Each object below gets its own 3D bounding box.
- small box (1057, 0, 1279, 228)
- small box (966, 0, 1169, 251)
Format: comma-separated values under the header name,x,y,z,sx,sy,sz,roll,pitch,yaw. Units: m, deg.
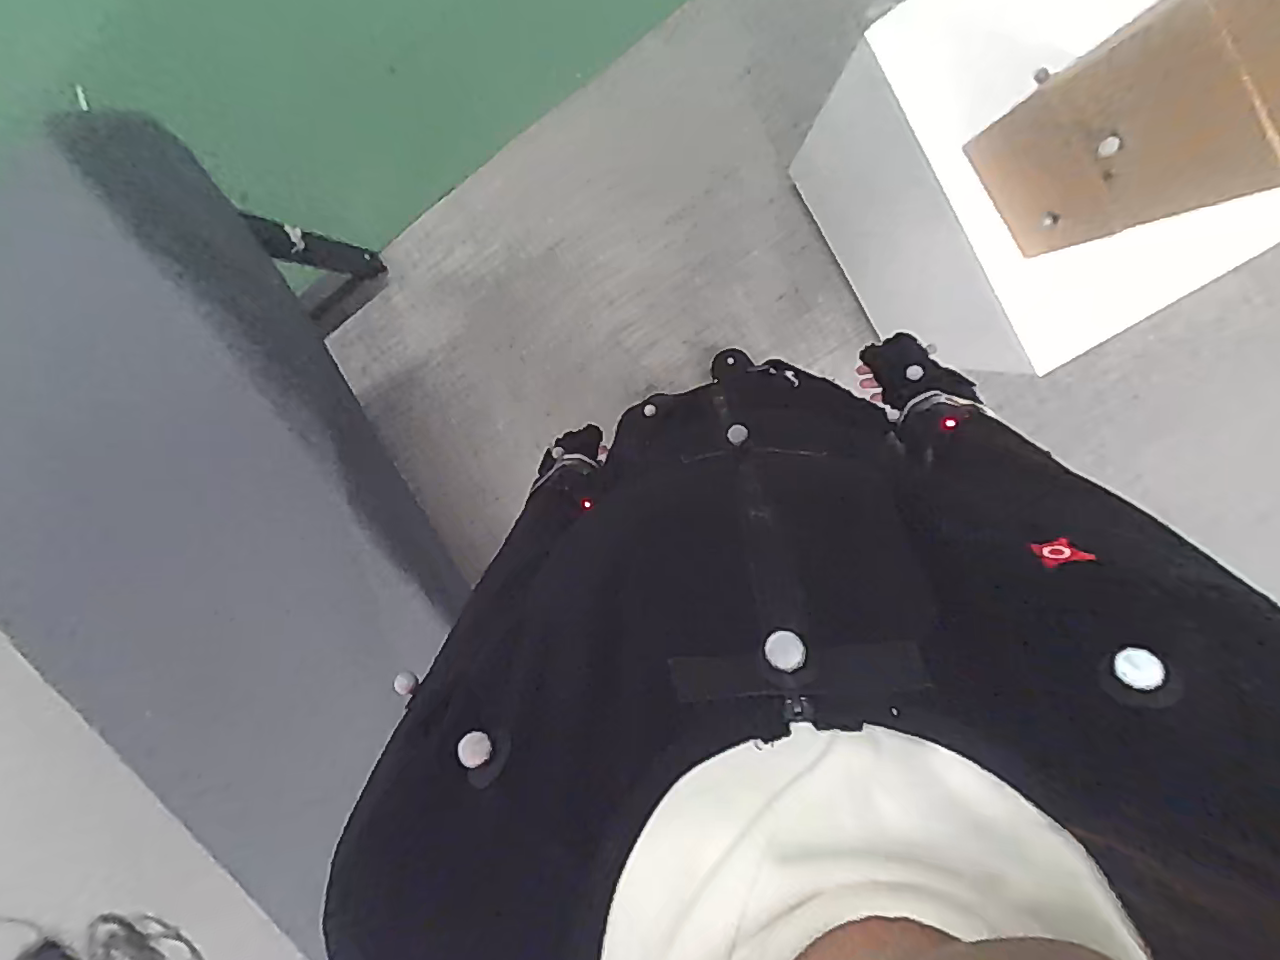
name,x,y,z,sx,sy,sz,roll,pitch,yaw
small box,0.512,-0.346,0.446,0.179,0.176,0.168,-37,98,10
small box,0.517,-0.383,0.606,0.168,0.176,0.179,-35,97,11
